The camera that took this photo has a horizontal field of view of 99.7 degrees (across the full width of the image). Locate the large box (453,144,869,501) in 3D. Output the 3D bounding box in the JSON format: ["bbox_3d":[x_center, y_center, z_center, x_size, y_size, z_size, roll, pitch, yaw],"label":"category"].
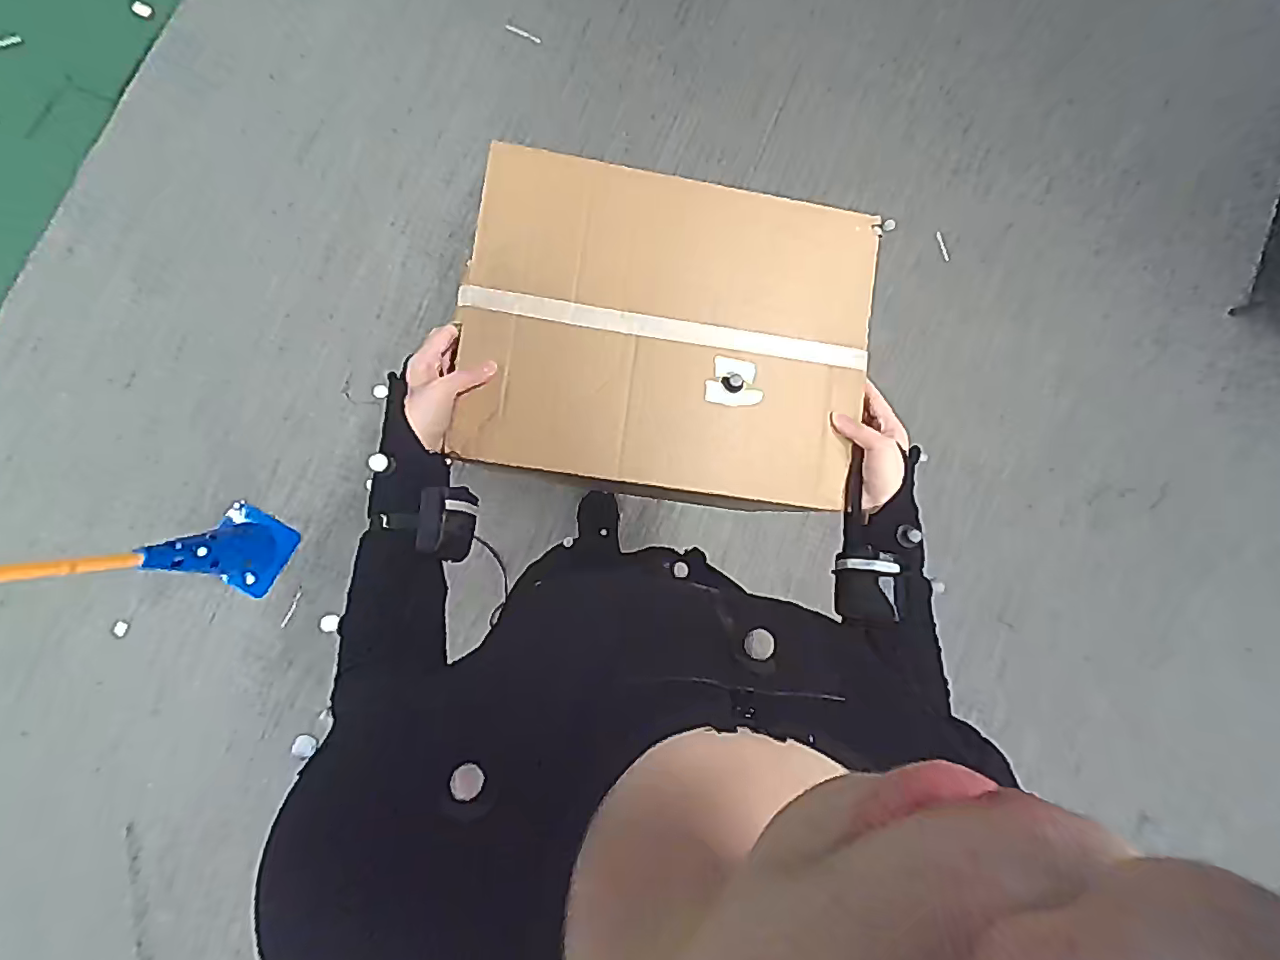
[{"bbox_3d":[0.014,-0.149,0.690,0.408,0.320,0.320,8,87,-7],"label":"large box"}]

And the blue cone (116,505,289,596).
[{"bbox_3d":[-1.015,0.169,1.241,0.192,0.380,0.193,32,83,-1],"label":"blue cone"}]
